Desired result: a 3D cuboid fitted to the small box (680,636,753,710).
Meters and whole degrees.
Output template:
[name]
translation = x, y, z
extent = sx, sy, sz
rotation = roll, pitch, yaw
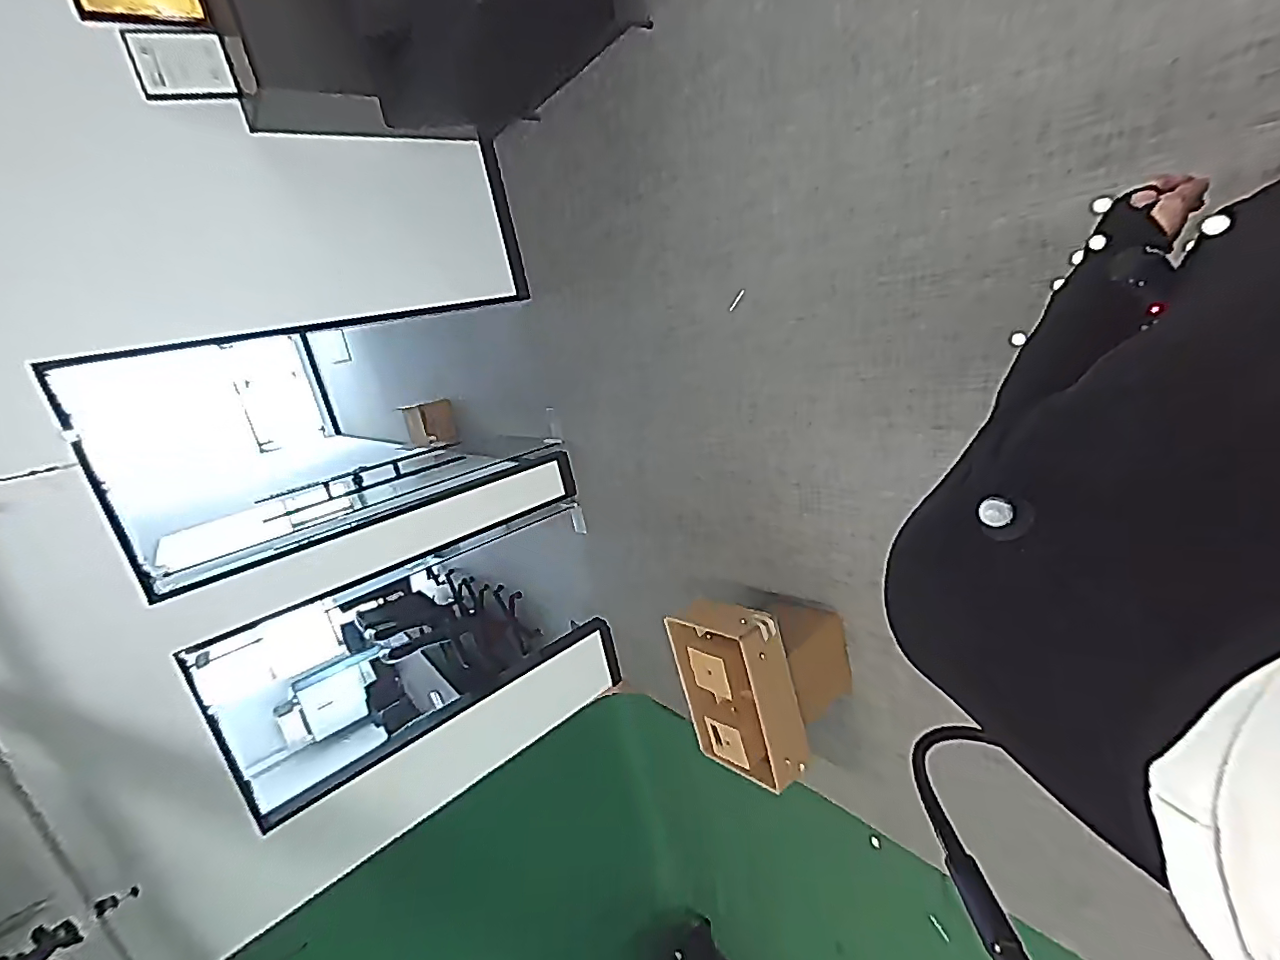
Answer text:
[small box]
translation = 0.276, 0.682, 1.936
extent = 0.179, 0.176, 0.168
rotation = 1, 110, 51
